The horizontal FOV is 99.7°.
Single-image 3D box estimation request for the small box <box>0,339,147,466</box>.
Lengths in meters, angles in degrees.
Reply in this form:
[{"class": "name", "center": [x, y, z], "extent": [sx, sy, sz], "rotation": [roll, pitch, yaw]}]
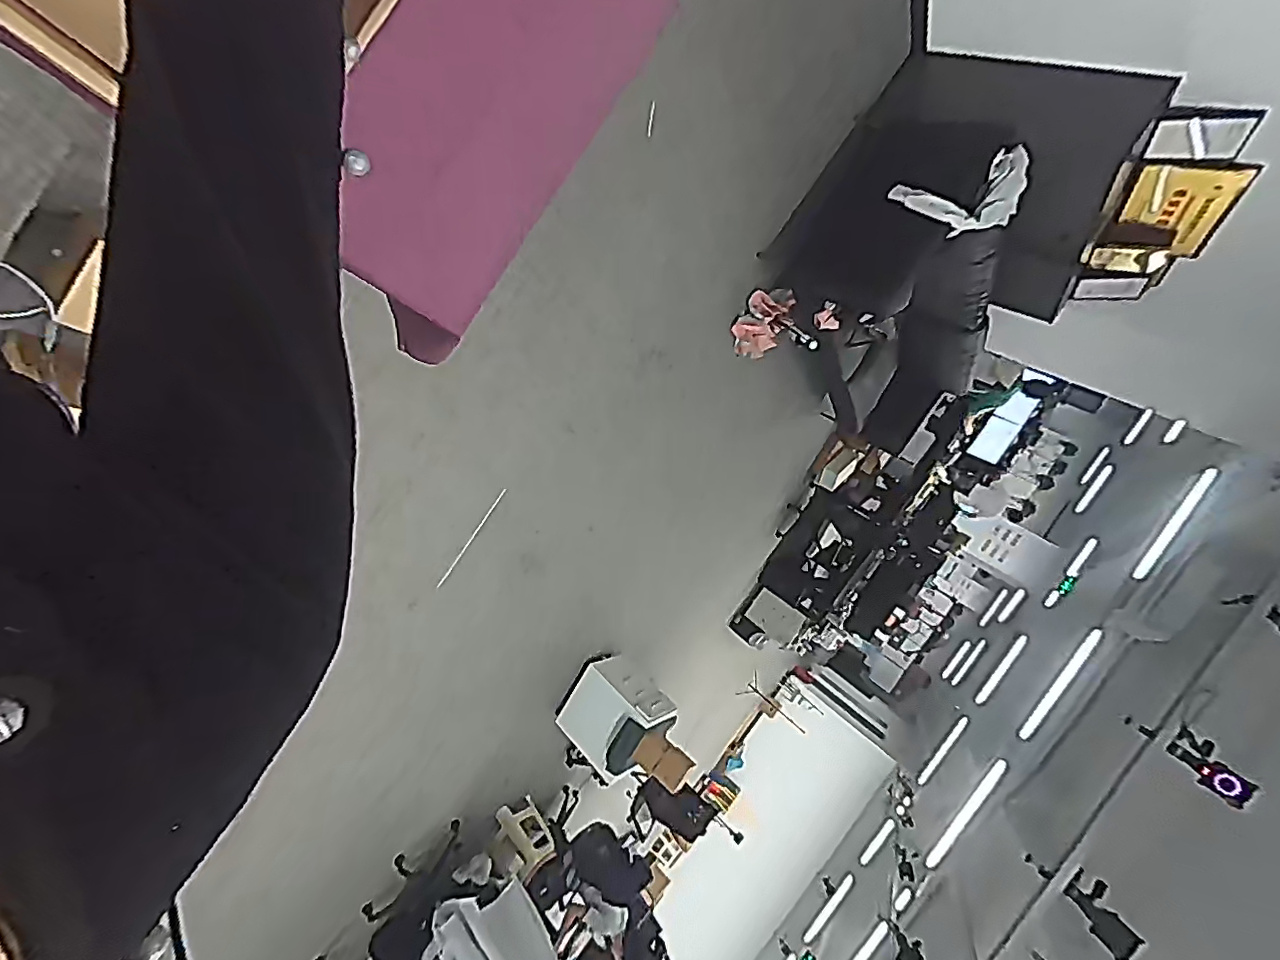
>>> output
[{"class": "small box", "center": [-1.115, -0.152, 1.044], "extent": [0.168, 0.176, 0.179], "rotation": [-59, 150, 6]}]
